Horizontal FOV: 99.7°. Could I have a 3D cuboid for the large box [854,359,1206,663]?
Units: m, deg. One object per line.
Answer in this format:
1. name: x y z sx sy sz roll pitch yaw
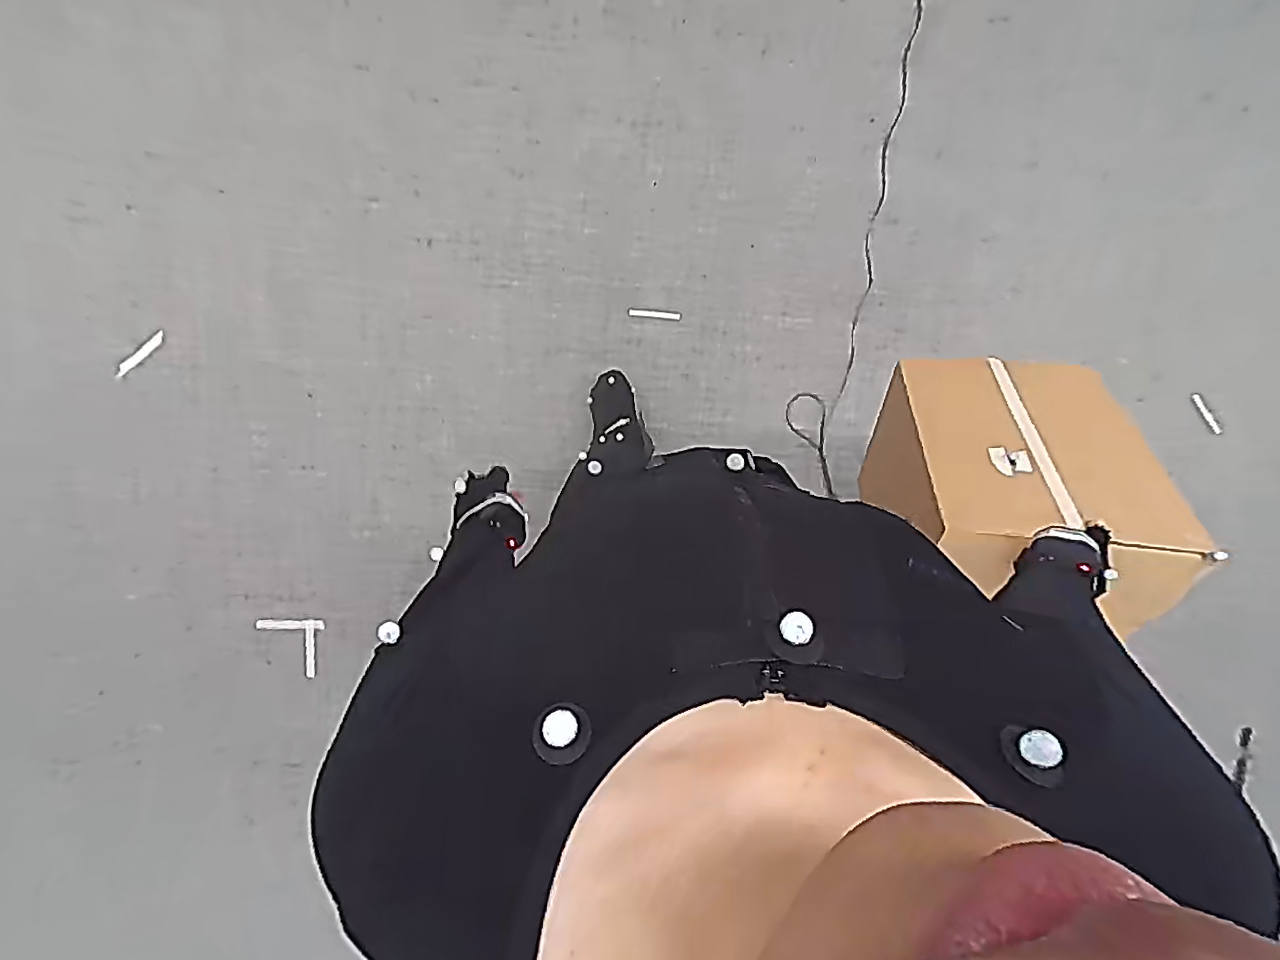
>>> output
1. large box: 0.586 0.043 0.929 0.320 0.408 0.320 6 137 8
